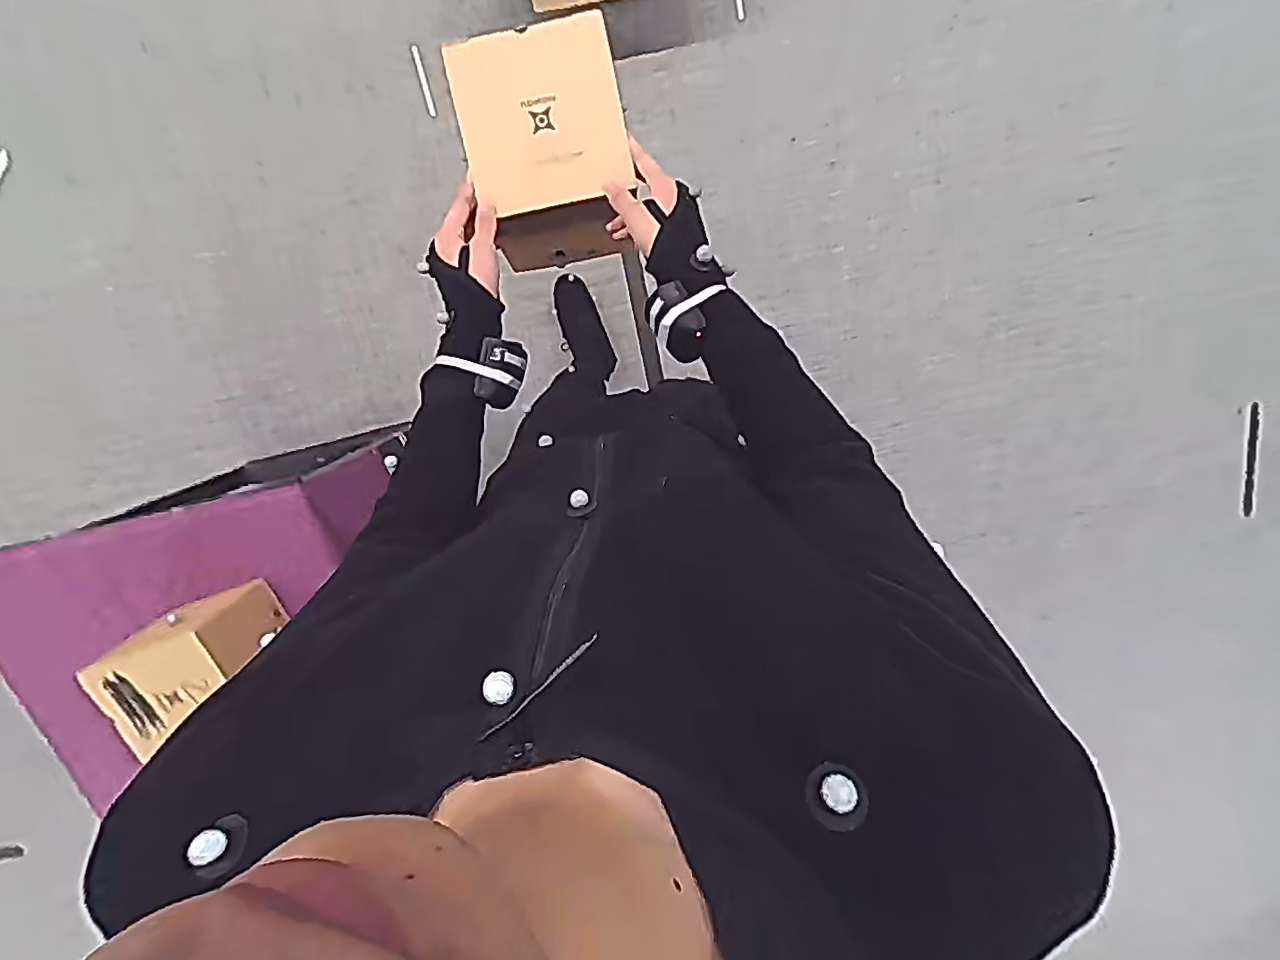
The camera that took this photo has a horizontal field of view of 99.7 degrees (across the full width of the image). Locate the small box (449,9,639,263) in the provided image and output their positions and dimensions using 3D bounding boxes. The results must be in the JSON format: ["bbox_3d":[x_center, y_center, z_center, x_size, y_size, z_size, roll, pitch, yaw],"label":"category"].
[{"bbox_3d":[-0.099,-0.379,0.627,0.168,0.176,0.179,-12,93,0],"label":"small box"}]
